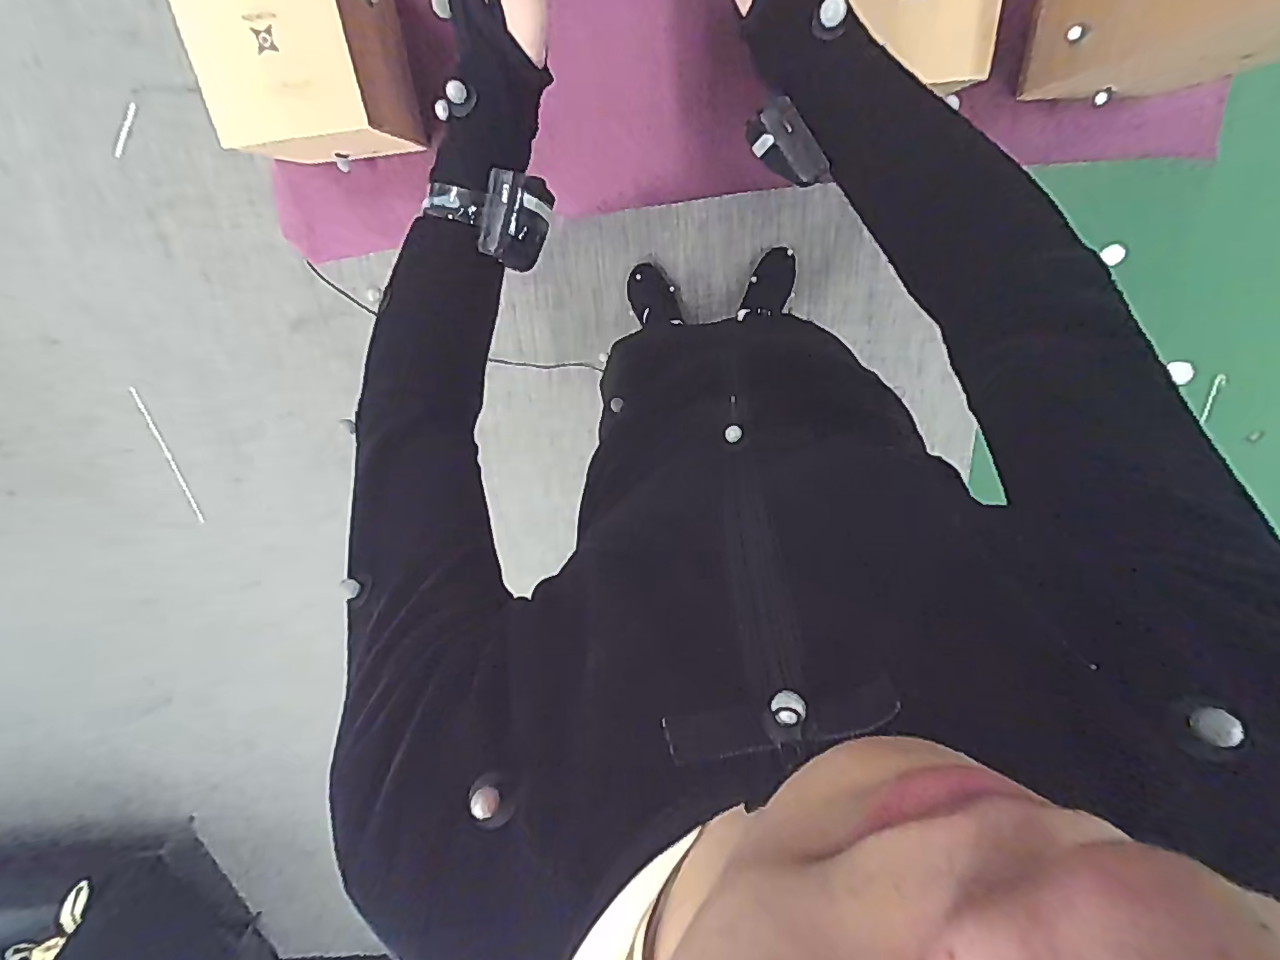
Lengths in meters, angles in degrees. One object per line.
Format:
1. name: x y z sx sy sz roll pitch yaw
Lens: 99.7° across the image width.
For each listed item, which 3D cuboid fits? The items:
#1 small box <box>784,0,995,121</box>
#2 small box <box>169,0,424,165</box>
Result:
1. small box: 0.256 -0.502 0.579 0.168 0.176 0.179 -3 113 3
2. small box: -0.369 -0.470 0.606 0.168 0.176 0.179 -4 114 4
